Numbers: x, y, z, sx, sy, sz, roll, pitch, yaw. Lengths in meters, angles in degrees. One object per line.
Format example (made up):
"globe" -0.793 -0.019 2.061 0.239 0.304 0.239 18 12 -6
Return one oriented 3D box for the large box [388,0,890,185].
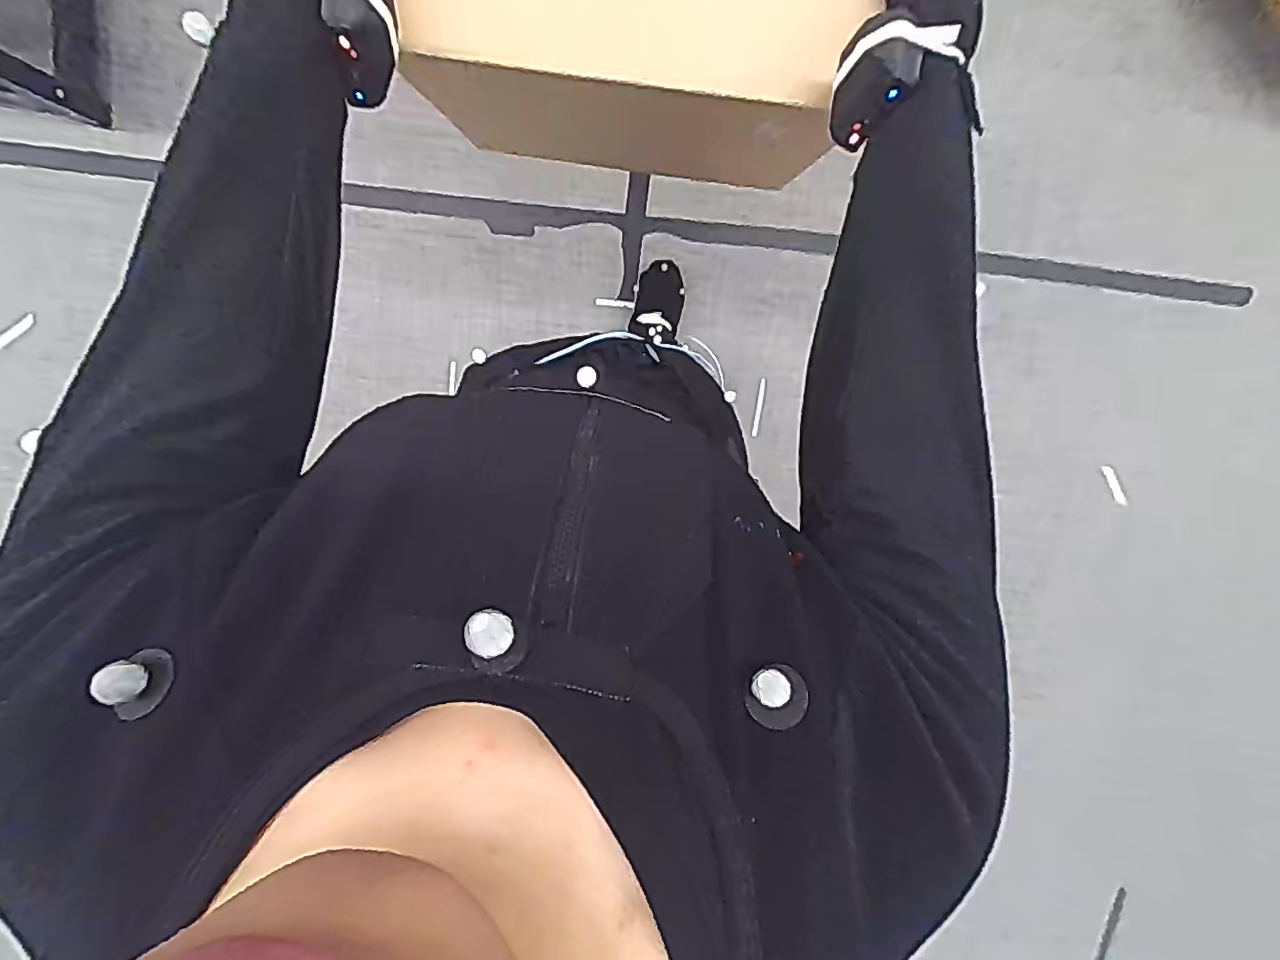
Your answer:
"large box" 0.005 -0.513 0.539 0.408 0.320 0.320 6 109 -3
